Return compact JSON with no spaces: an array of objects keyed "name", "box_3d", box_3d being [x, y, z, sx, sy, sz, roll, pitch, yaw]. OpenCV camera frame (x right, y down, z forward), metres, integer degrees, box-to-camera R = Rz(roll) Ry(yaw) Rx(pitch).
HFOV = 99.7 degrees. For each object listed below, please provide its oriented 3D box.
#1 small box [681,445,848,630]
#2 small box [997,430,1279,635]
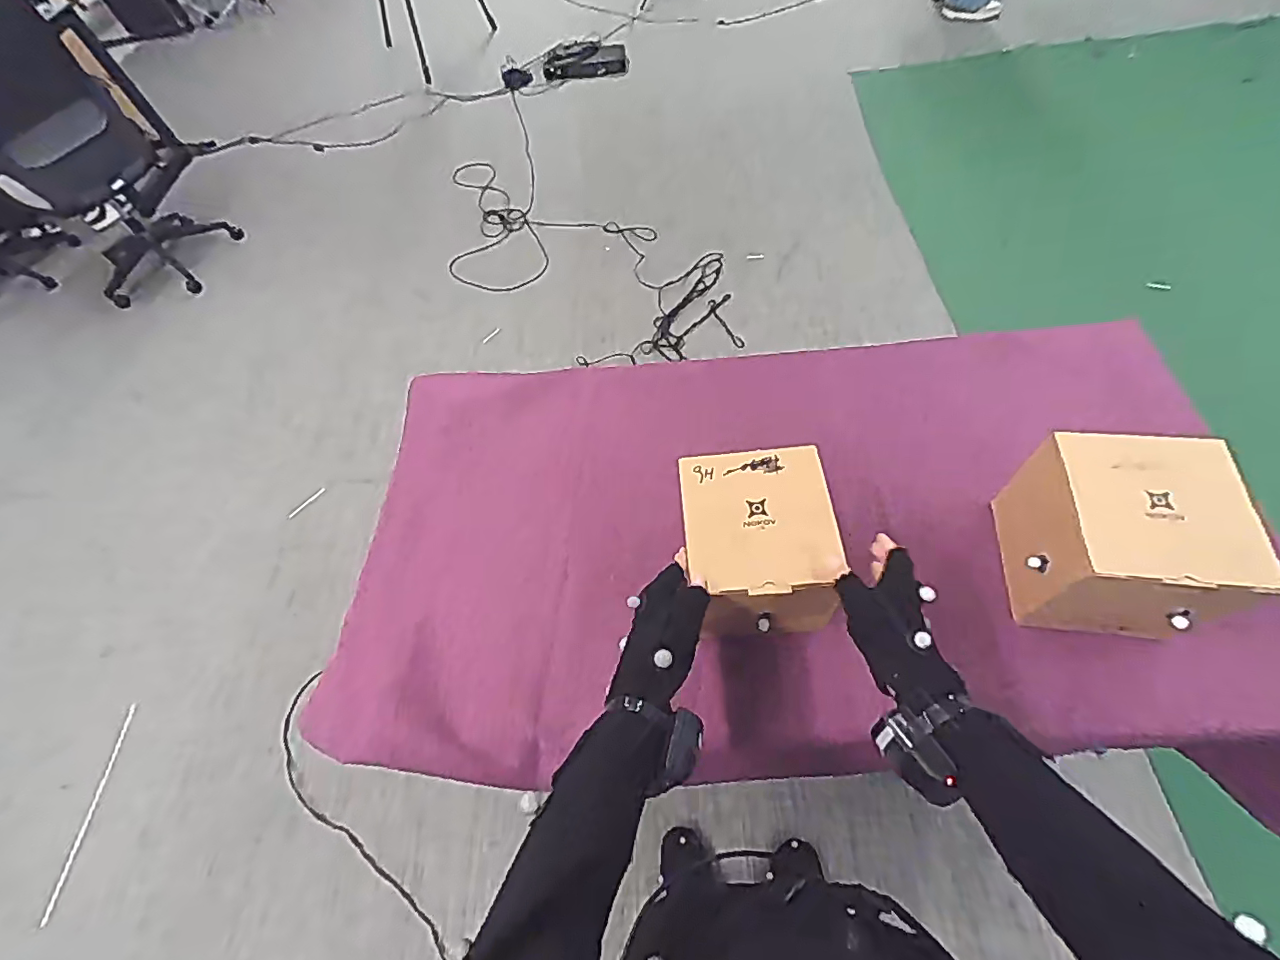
[{"name":"small box","box_3d":[0.142,0.081,0.669,0.168,0.176,0.179,-5,59,5]},{"name":"small box","box_3d":[0.543,0.065,0.619,0.168,0.176,0.179,5,59,11]}]
